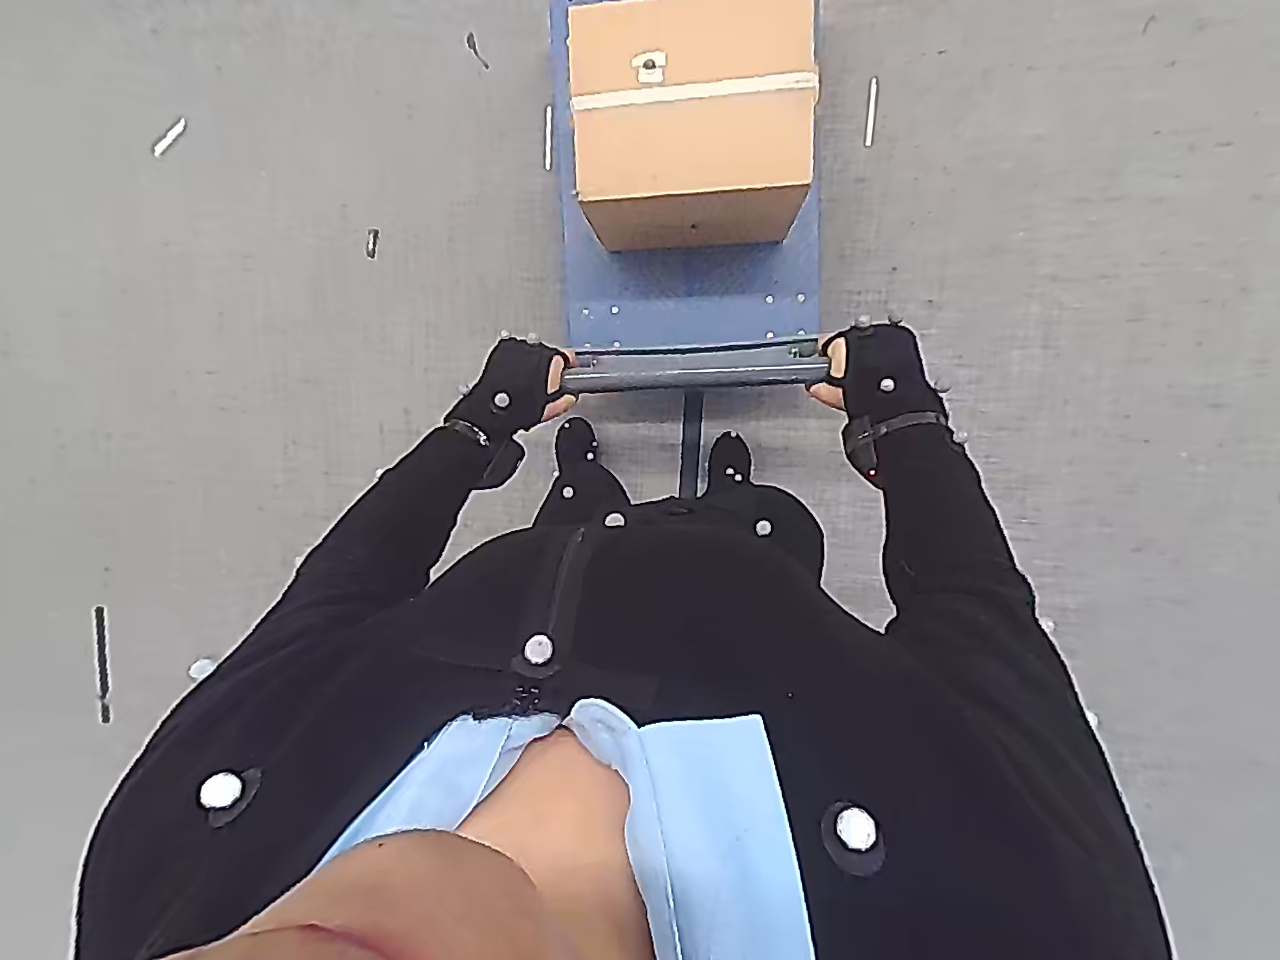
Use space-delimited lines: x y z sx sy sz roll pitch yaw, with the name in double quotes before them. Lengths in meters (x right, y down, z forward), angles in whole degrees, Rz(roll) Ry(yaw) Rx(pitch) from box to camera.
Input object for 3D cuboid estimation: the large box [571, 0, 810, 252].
"large box" 0.103 -0.664 1.068 0.408 0.320 0.320 -2 96 7
